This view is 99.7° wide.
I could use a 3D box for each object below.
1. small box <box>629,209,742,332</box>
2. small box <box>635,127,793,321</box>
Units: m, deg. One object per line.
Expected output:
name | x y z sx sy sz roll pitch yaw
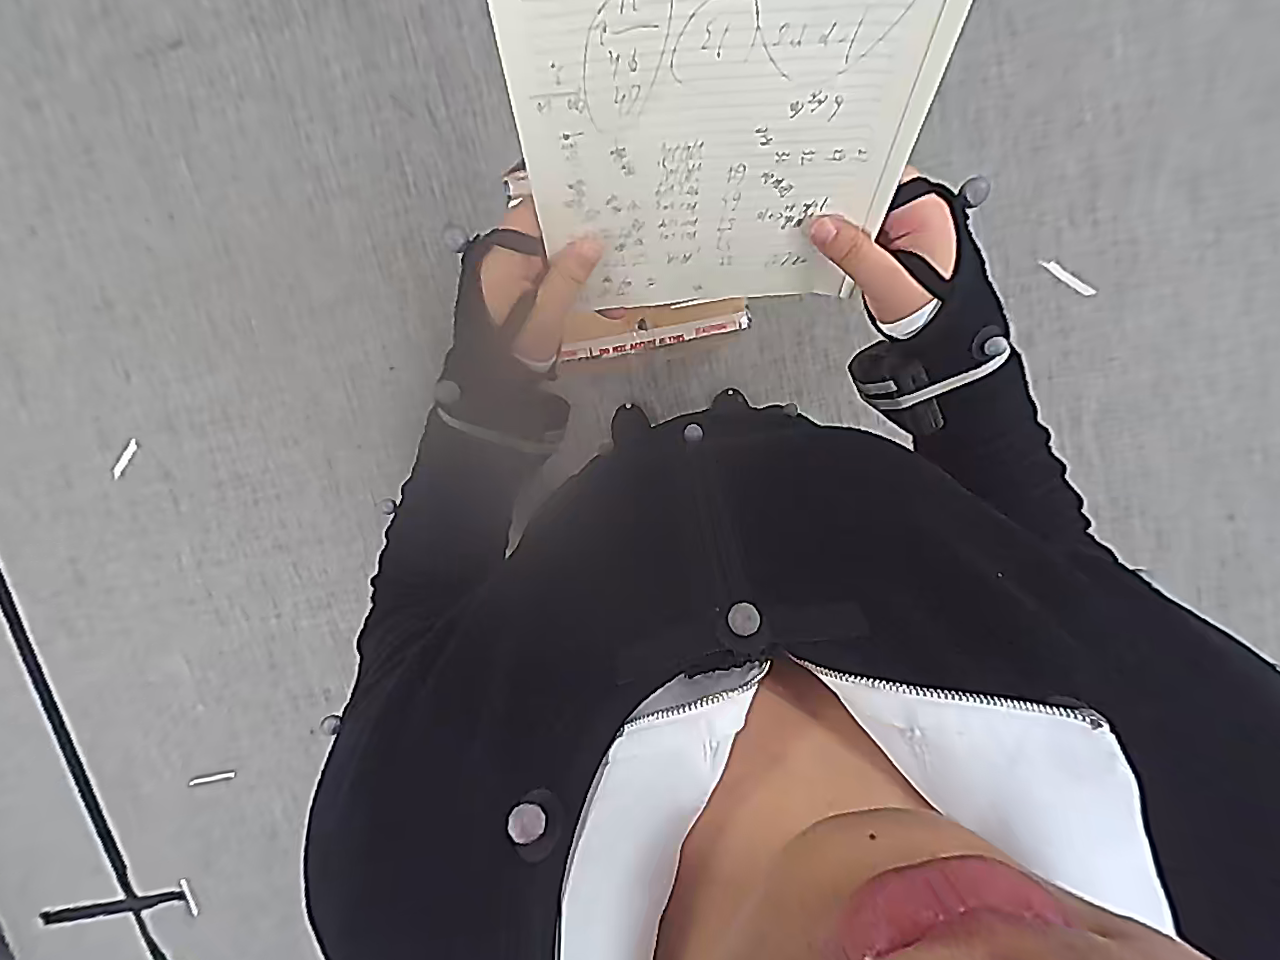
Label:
small box | 0.084 -0.348 0.877 0.179 0.176 0.168 -14 99 3
small box | 0.088 -0.321 0.715 0.168 0.176 0.179 -11 100 2
